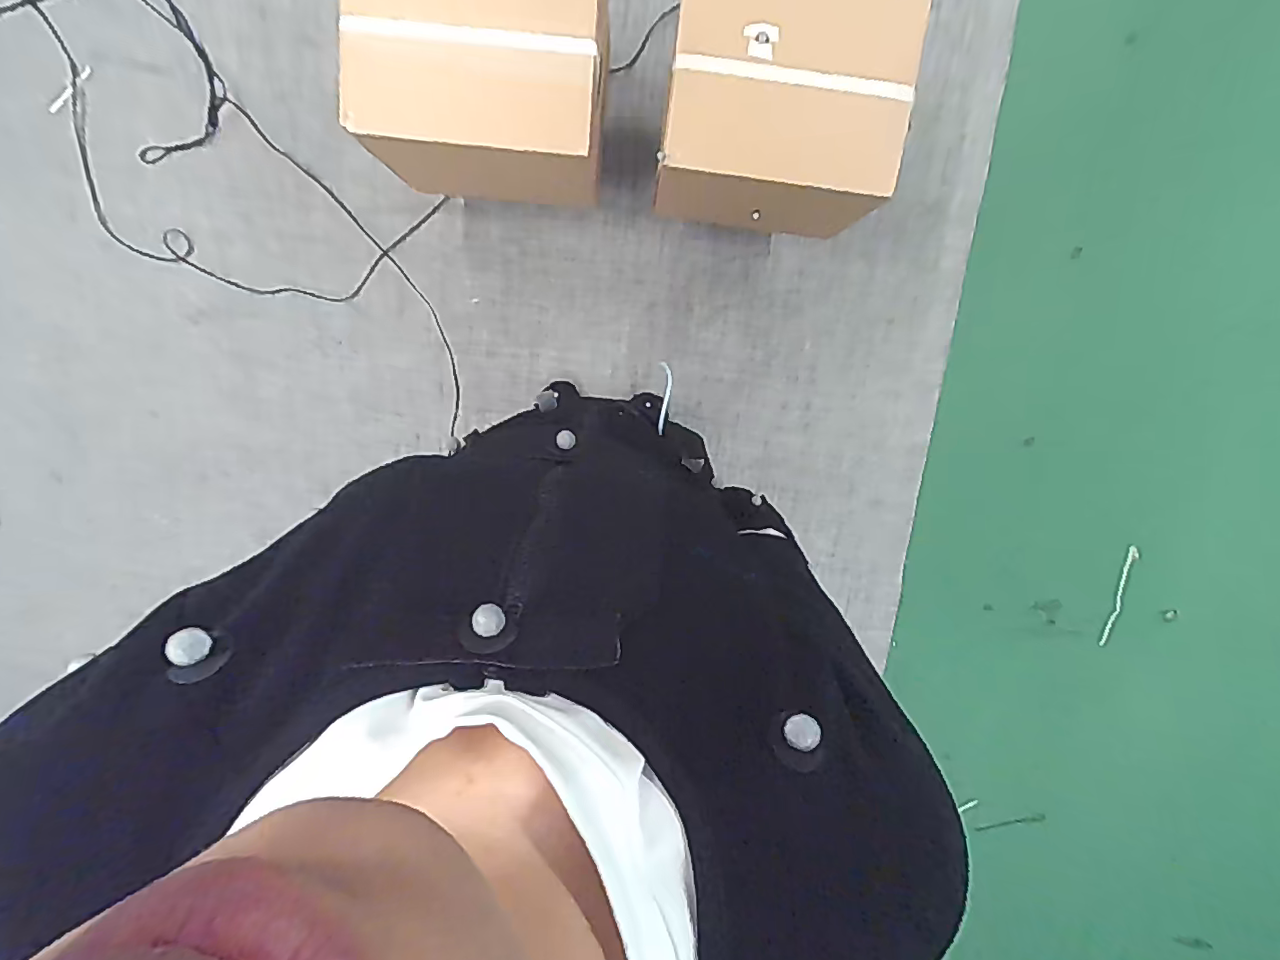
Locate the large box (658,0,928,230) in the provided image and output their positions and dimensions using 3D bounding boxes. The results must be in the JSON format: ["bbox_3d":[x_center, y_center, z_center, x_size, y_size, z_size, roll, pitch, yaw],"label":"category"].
[{"bbox_3d":[0.257,-0.700,1.049,0.408,0.320,0.320,7,101,-2],"label":"large box"}]
